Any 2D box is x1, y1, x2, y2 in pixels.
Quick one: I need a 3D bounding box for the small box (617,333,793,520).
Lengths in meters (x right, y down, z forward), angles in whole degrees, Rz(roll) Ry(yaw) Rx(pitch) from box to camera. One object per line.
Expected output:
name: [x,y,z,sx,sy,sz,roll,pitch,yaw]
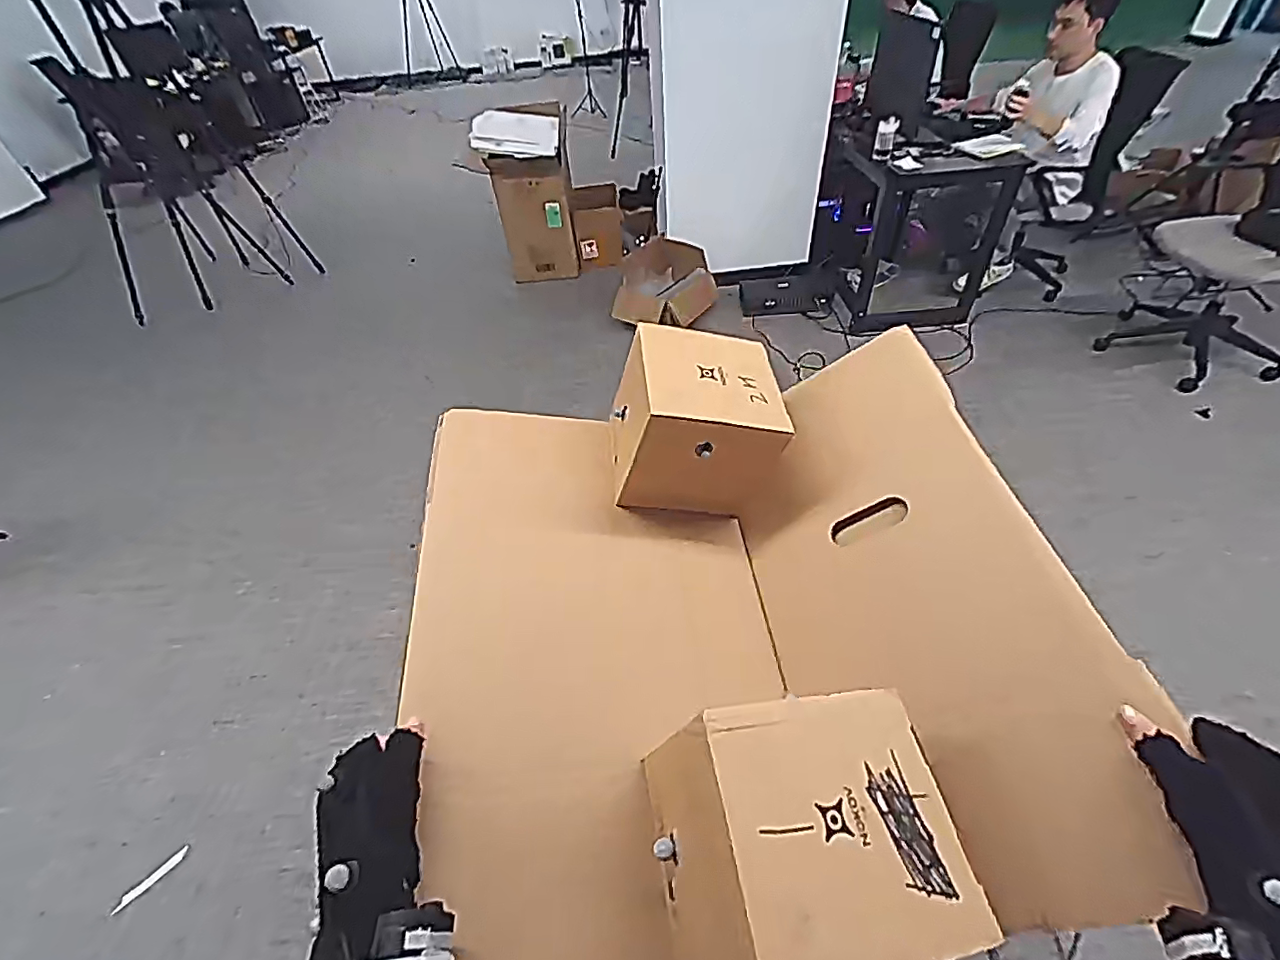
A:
small box: [0.069,-0.063,0.708,0.179,0.176,0.168,7,50,-14]
